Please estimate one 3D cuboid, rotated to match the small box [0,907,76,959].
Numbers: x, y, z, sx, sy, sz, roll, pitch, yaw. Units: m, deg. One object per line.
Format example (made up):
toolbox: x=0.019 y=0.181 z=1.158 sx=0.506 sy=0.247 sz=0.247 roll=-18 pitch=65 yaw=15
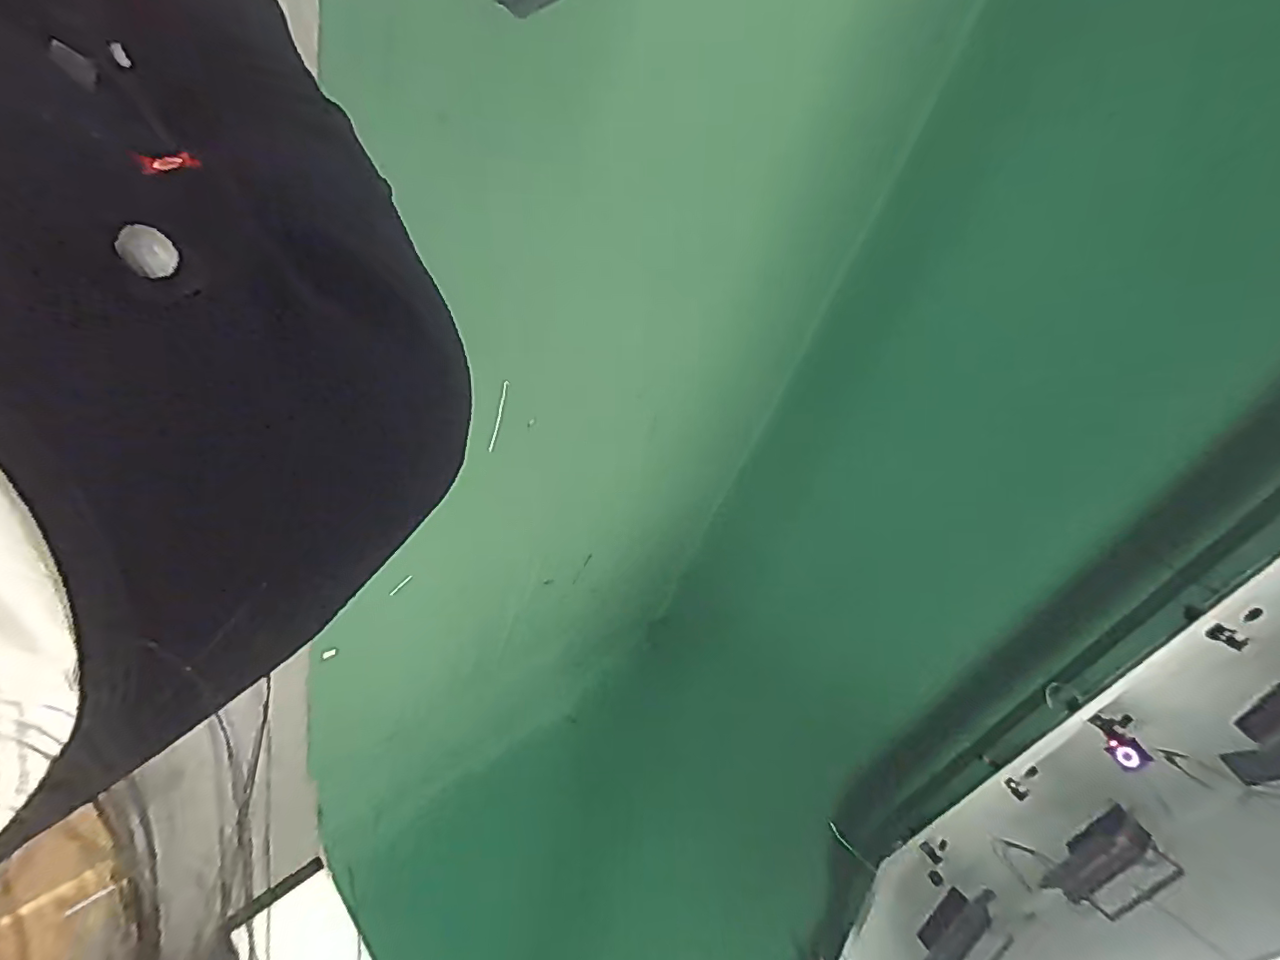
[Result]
small box: x=-1.632 y=1.289 z=1.426 sx=0.179 sy=0.176 sz=0.168 roll=-18 pitch=137 yaw=-46
